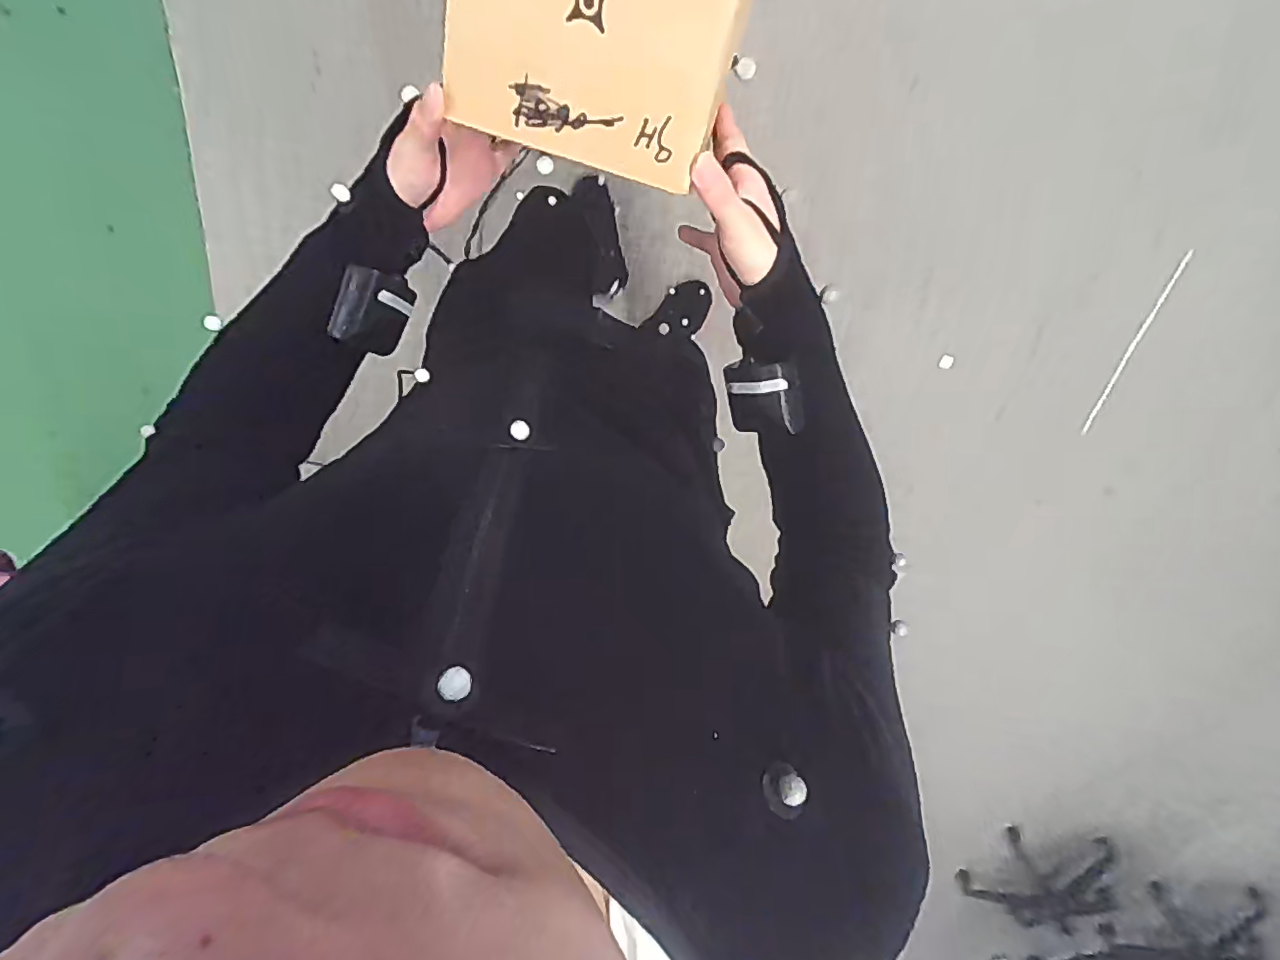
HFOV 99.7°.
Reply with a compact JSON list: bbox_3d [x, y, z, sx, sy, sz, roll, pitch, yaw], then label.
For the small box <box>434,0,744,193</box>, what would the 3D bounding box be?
[{"bbox_3d":[-0.020,-0.318,0.372,0.168,0.176,0.179,17,120,-1],"label":"small box"}]
